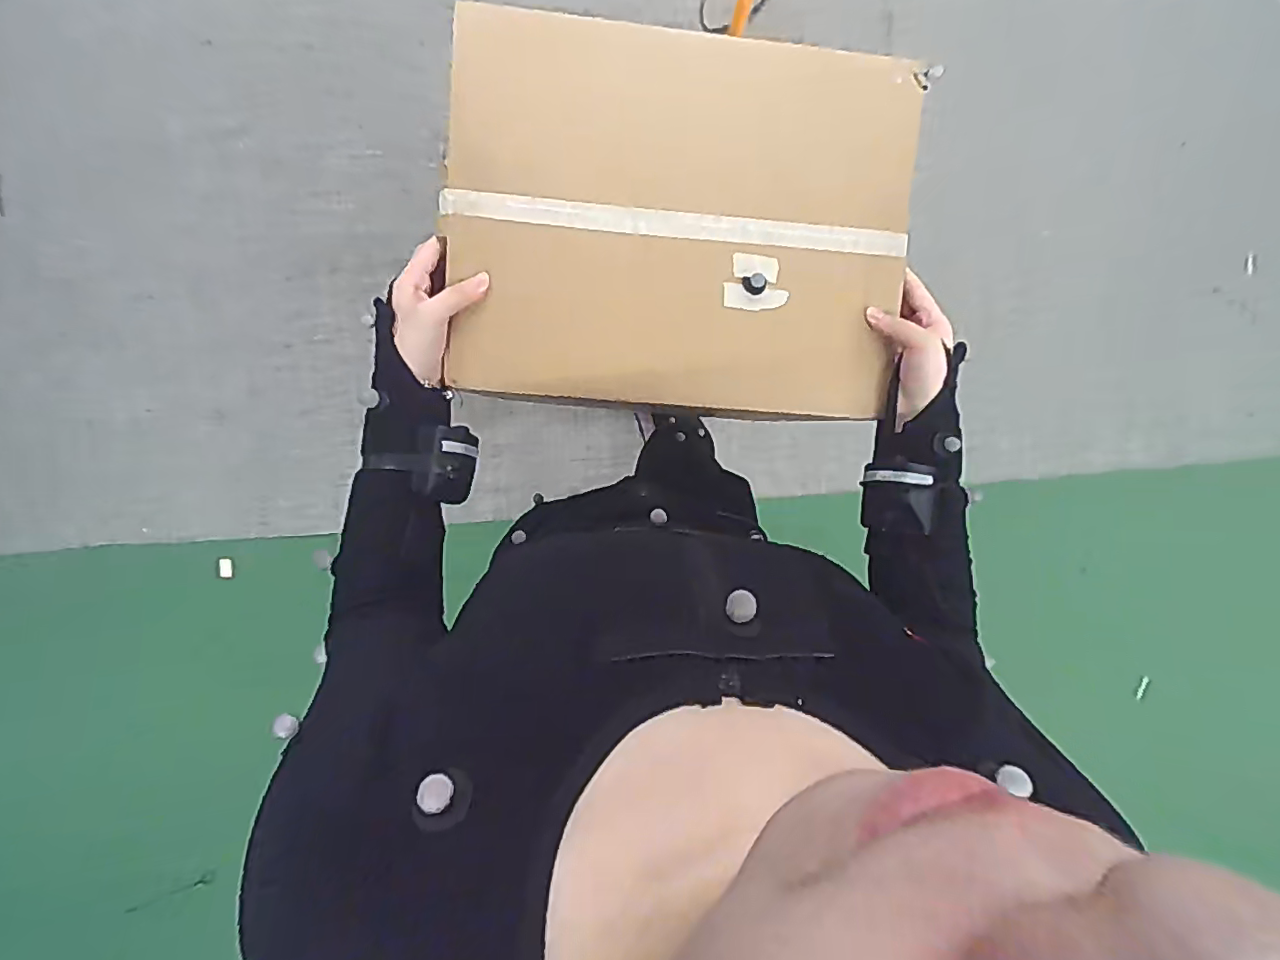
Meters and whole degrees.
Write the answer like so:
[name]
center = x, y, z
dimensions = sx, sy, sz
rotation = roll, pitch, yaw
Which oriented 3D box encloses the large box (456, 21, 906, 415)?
[large box]
center = 0.024, -0.242, 0.631
dimensions = 0.408, 0.320, 0.320
rotation = 3, 96, -6
